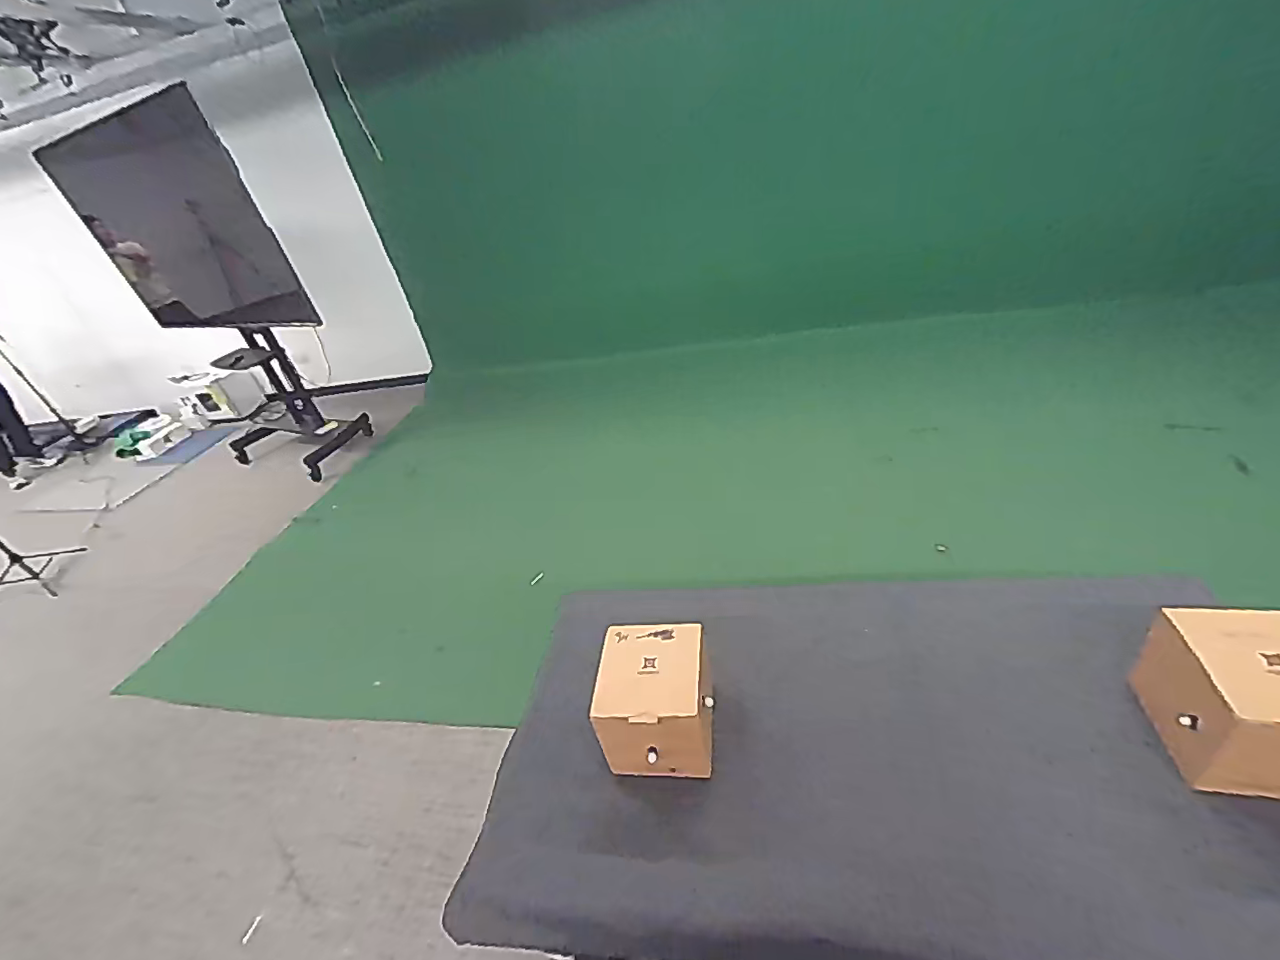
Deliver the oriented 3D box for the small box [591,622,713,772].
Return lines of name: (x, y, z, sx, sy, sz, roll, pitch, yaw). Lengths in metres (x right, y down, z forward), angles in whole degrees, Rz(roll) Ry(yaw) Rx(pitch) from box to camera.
small box: (0.030, 0.363, 0.903, 0.168, 0.176, 0.179, -5, 35, 12)

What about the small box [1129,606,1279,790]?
small box: (0.815, 0.293, 0.725, 0.168, 0.176, 0.179, -2, 34, 15)
